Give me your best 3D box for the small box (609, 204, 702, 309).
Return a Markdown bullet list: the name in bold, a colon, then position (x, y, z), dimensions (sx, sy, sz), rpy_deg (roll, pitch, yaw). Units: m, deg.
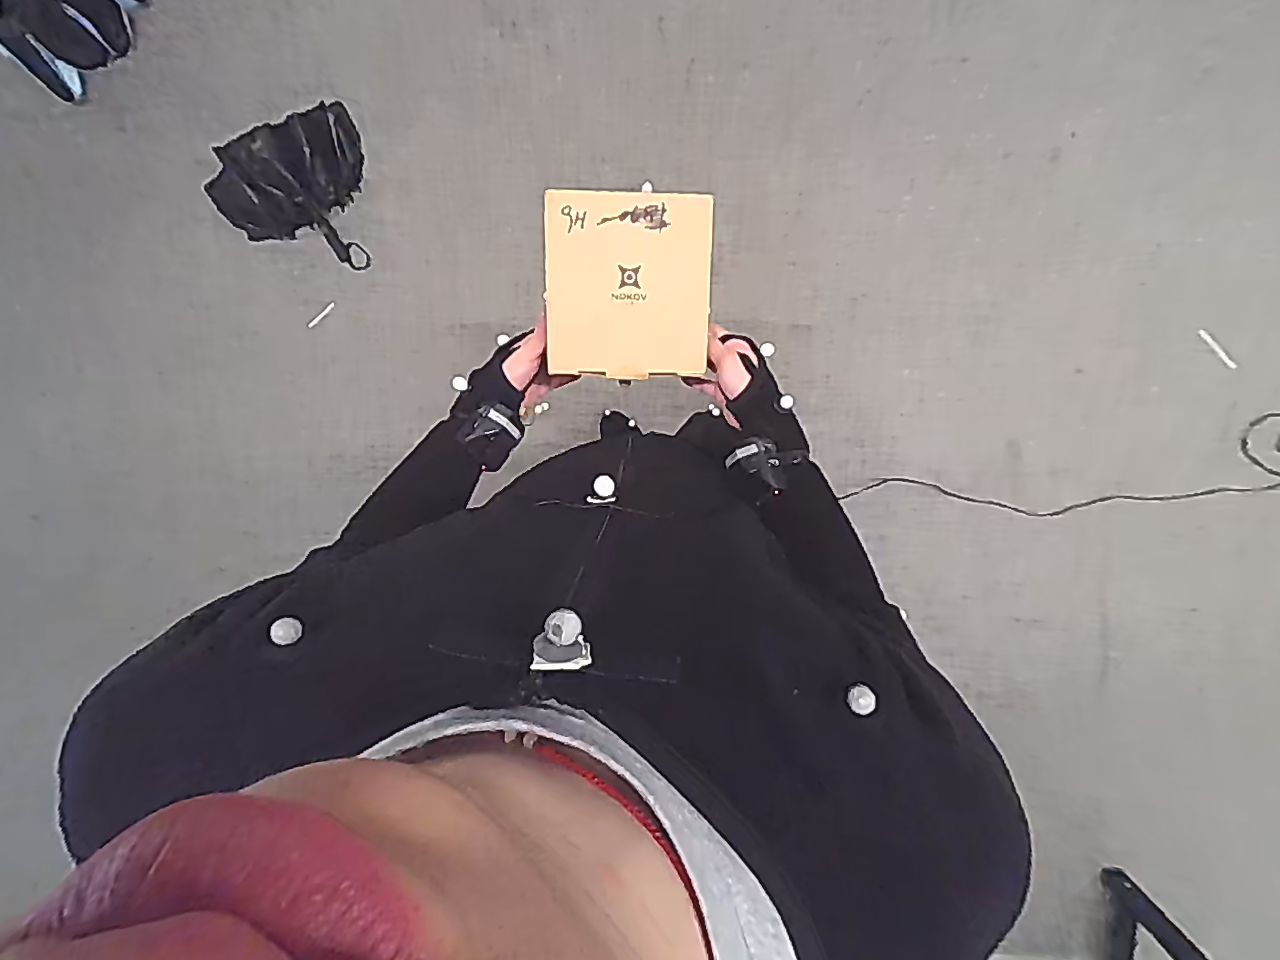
- **small box**: position (0.042, -0.559, 1.388), dimensions (0.168, 0.176, 0.179), rpy_deg (-36, 95, 6)
